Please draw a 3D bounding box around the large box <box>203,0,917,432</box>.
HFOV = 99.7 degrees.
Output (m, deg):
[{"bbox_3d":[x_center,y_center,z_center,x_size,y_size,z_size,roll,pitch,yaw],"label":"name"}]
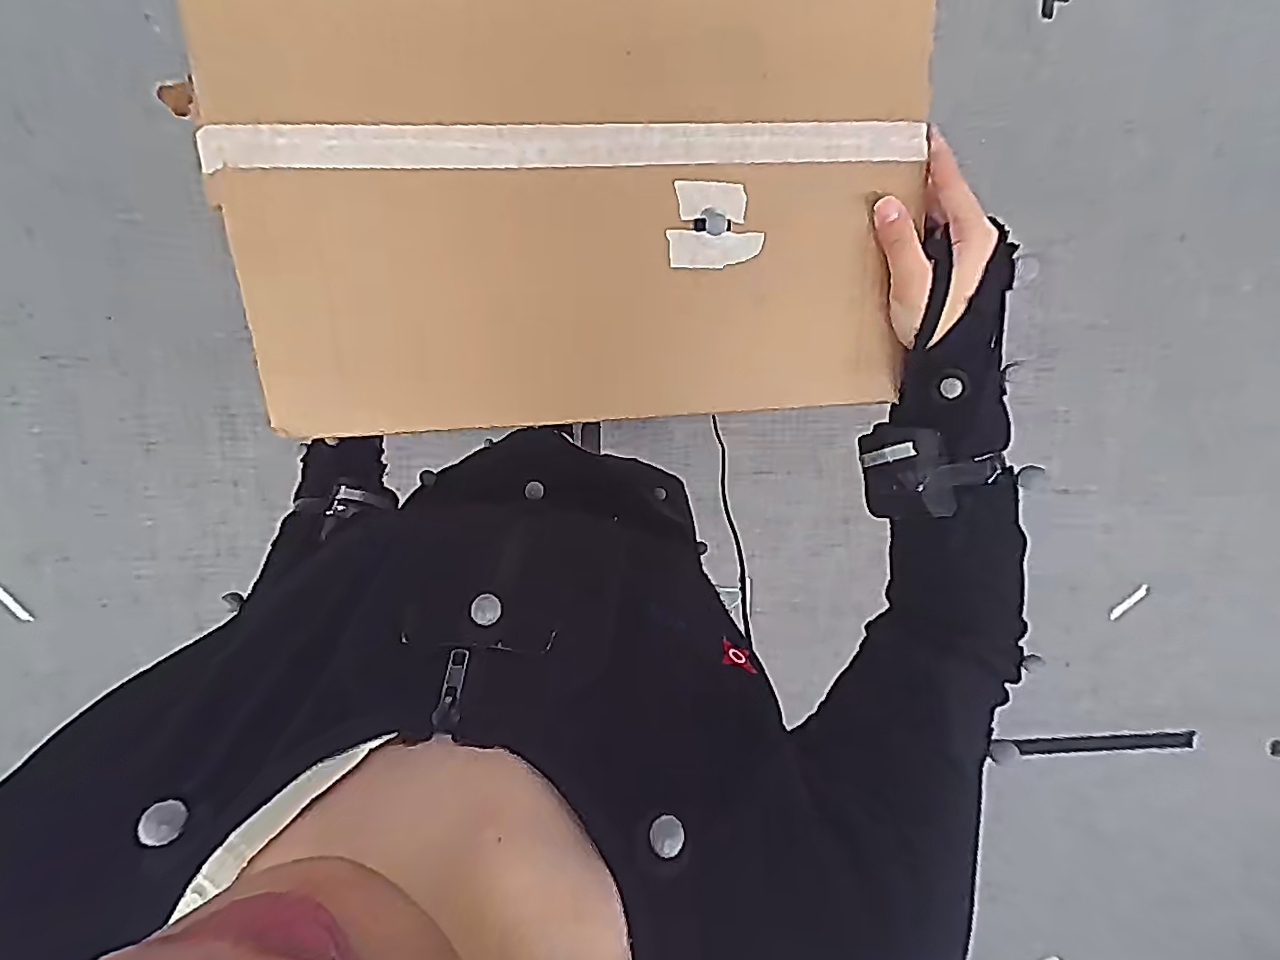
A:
[{"bbox_3d":[-0.048,-0.230,0.463,0.408,0.320,0.320,-5,105,-7],"label":"large box"}]
